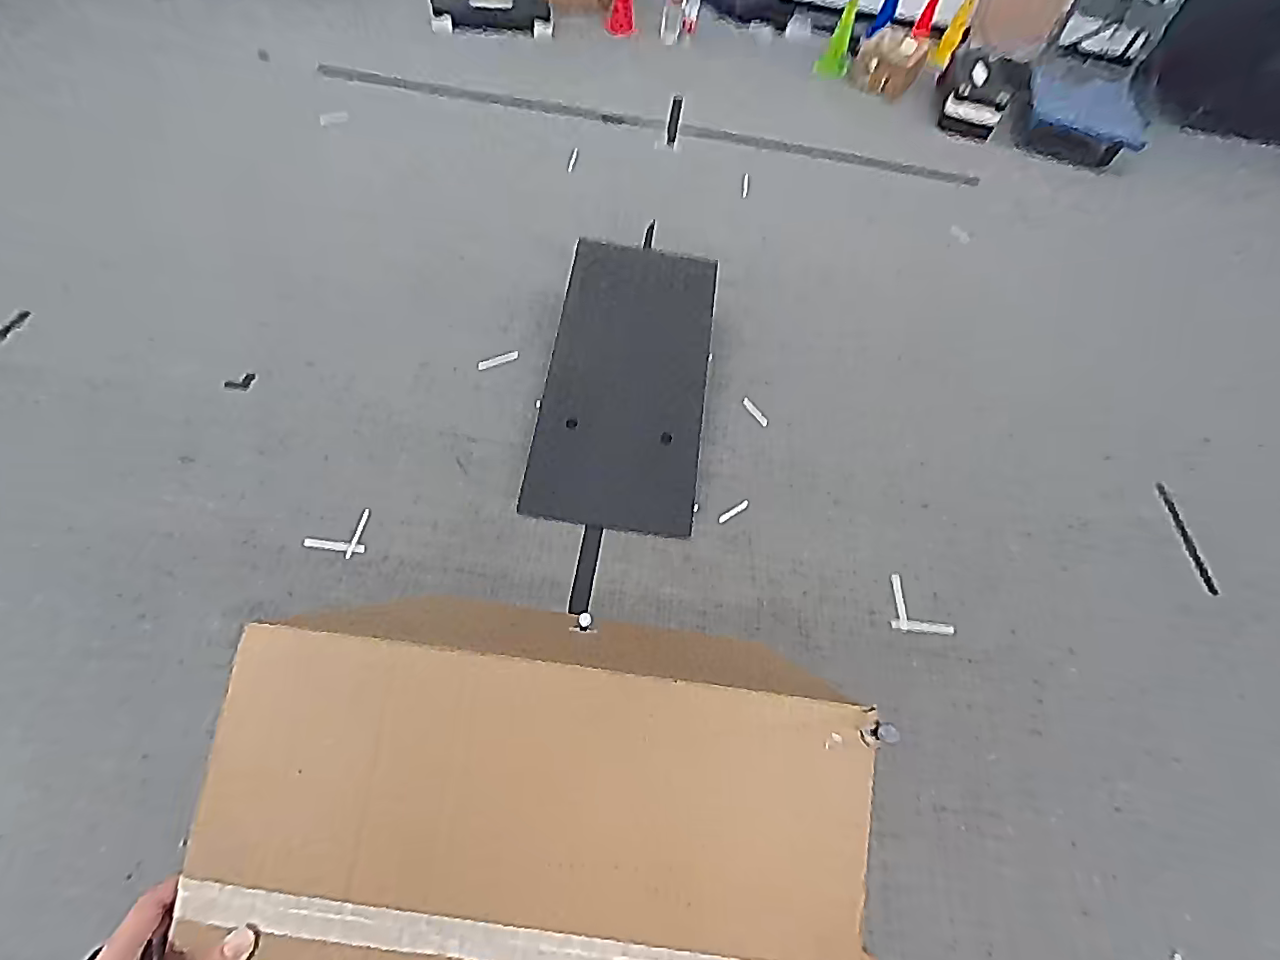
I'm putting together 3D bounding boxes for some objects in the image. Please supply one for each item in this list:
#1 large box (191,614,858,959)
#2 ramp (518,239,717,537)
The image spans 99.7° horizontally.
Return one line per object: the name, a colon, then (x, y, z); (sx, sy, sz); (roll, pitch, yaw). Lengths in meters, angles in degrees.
large box: (-0.074, 0.303, 0.479); (0.408, 0.320, 0.320); (7, 81, 0)
ramp: (-0.035, -0.331, 1.690); (0.509, 0.206, 0.991); (8, 59, -4)
